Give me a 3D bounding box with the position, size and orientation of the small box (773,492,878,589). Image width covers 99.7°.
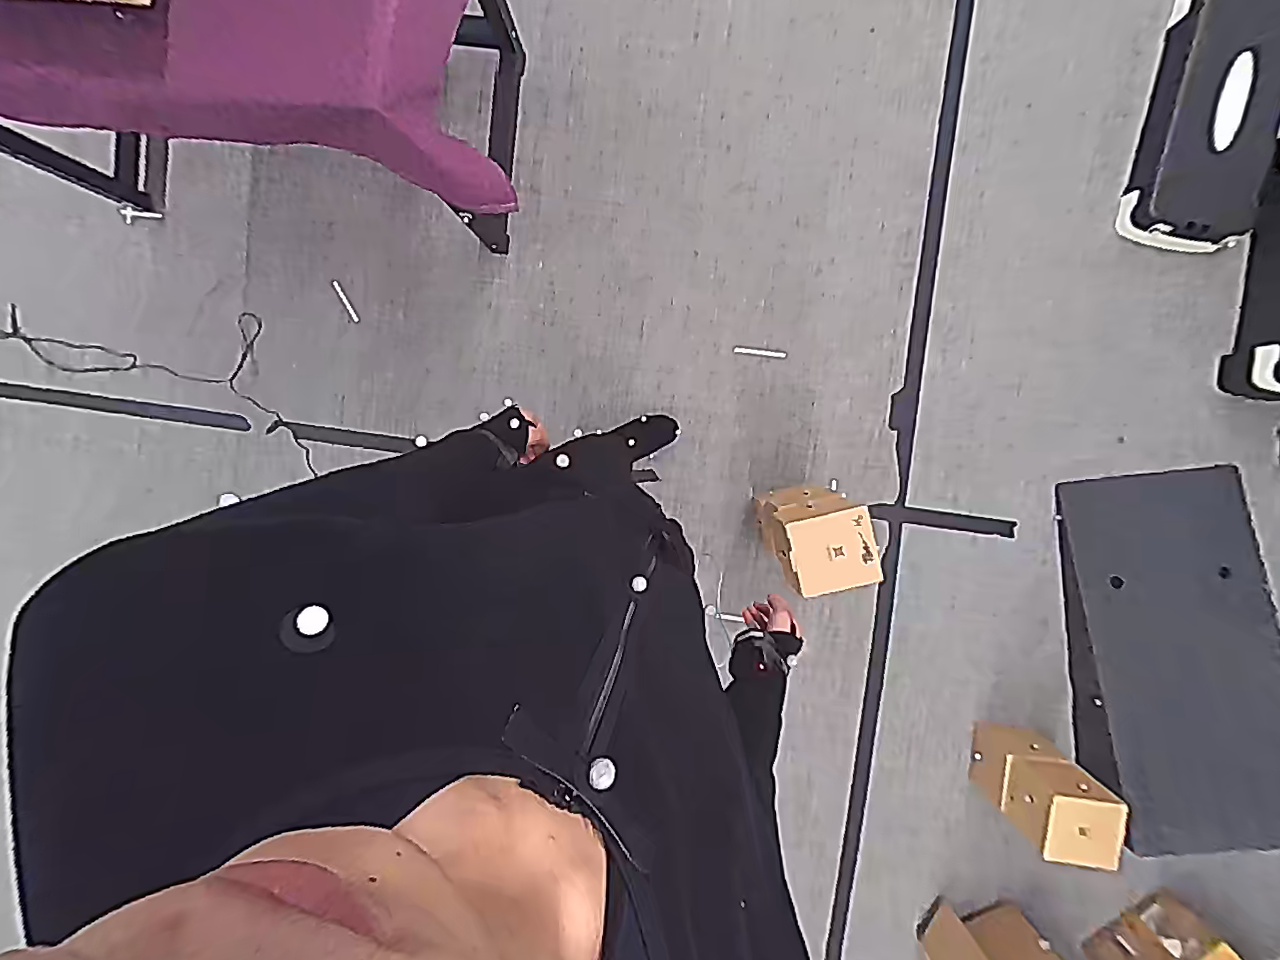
[{"bbox_3d":[0.405,0.130,1.213,0.179,0.176,0.168,-13,94,5],"label":"small box"}]
